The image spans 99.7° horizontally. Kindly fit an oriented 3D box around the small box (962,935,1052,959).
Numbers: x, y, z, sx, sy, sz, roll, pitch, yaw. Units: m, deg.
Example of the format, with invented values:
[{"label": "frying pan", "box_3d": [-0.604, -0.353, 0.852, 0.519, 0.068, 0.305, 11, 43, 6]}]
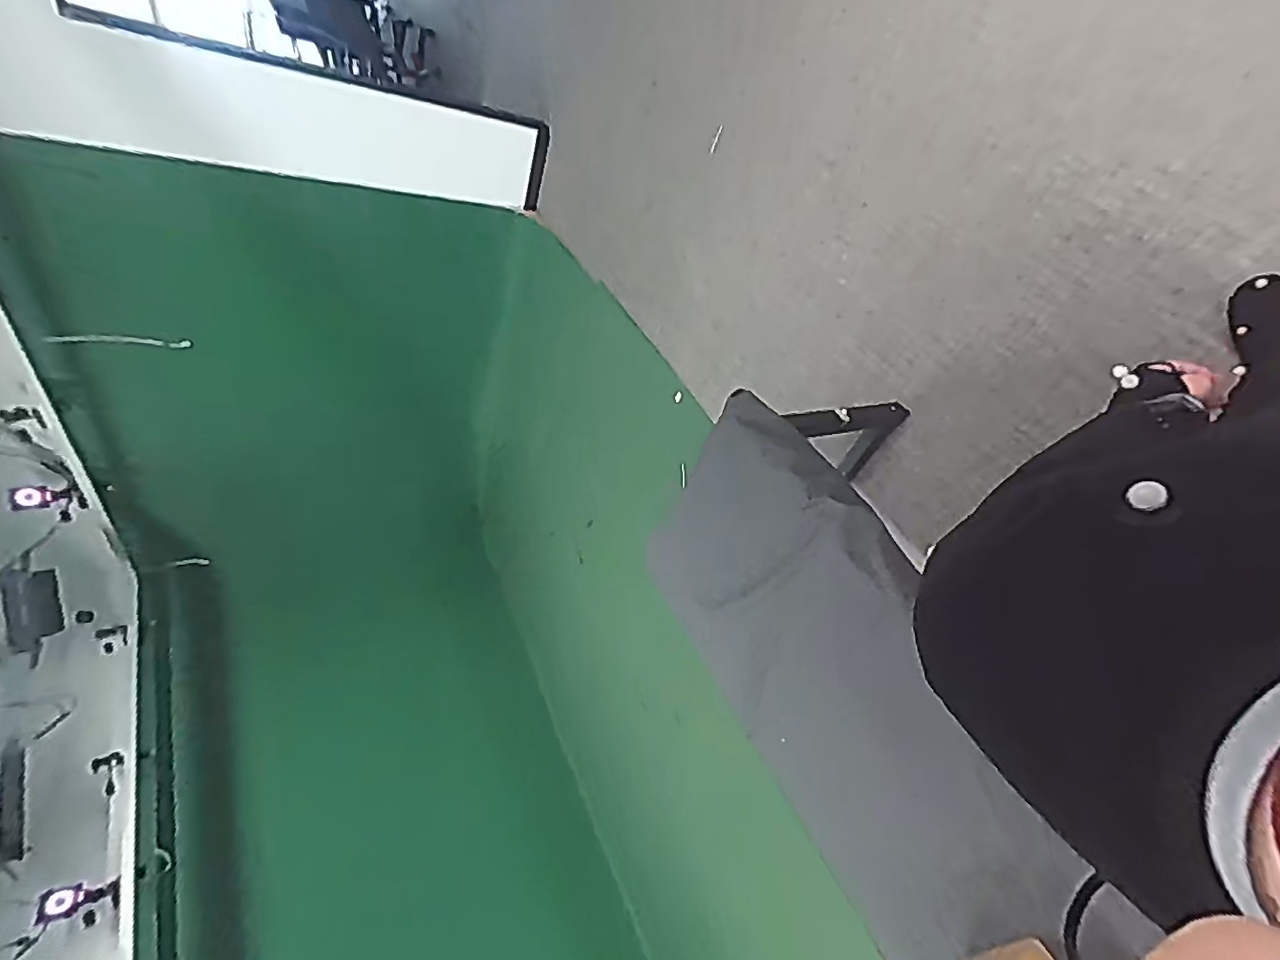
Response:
[{"label": "small box", "box_3d": [0.565, 0.835, 0.812, 0.168, 0.176, 0.179, 53, 137, 35]}]
